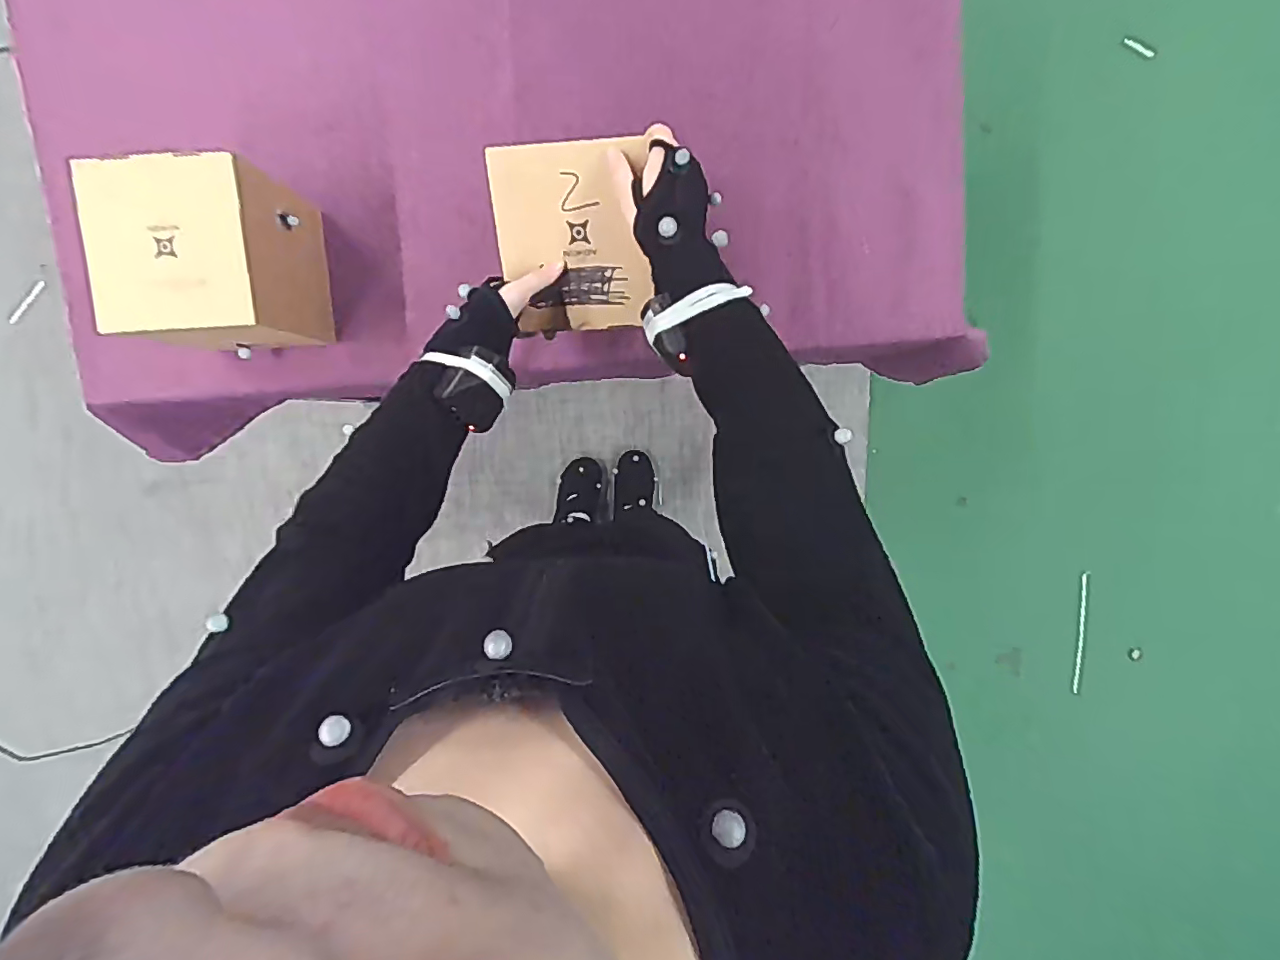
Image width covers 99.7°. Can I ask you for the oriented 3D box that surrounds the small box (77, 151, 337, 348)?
[{"bbox_3d":[-0.492,-0.259,0.643,0.168,0.176,0.179,-3,97,-1],"label":"small box"}]
